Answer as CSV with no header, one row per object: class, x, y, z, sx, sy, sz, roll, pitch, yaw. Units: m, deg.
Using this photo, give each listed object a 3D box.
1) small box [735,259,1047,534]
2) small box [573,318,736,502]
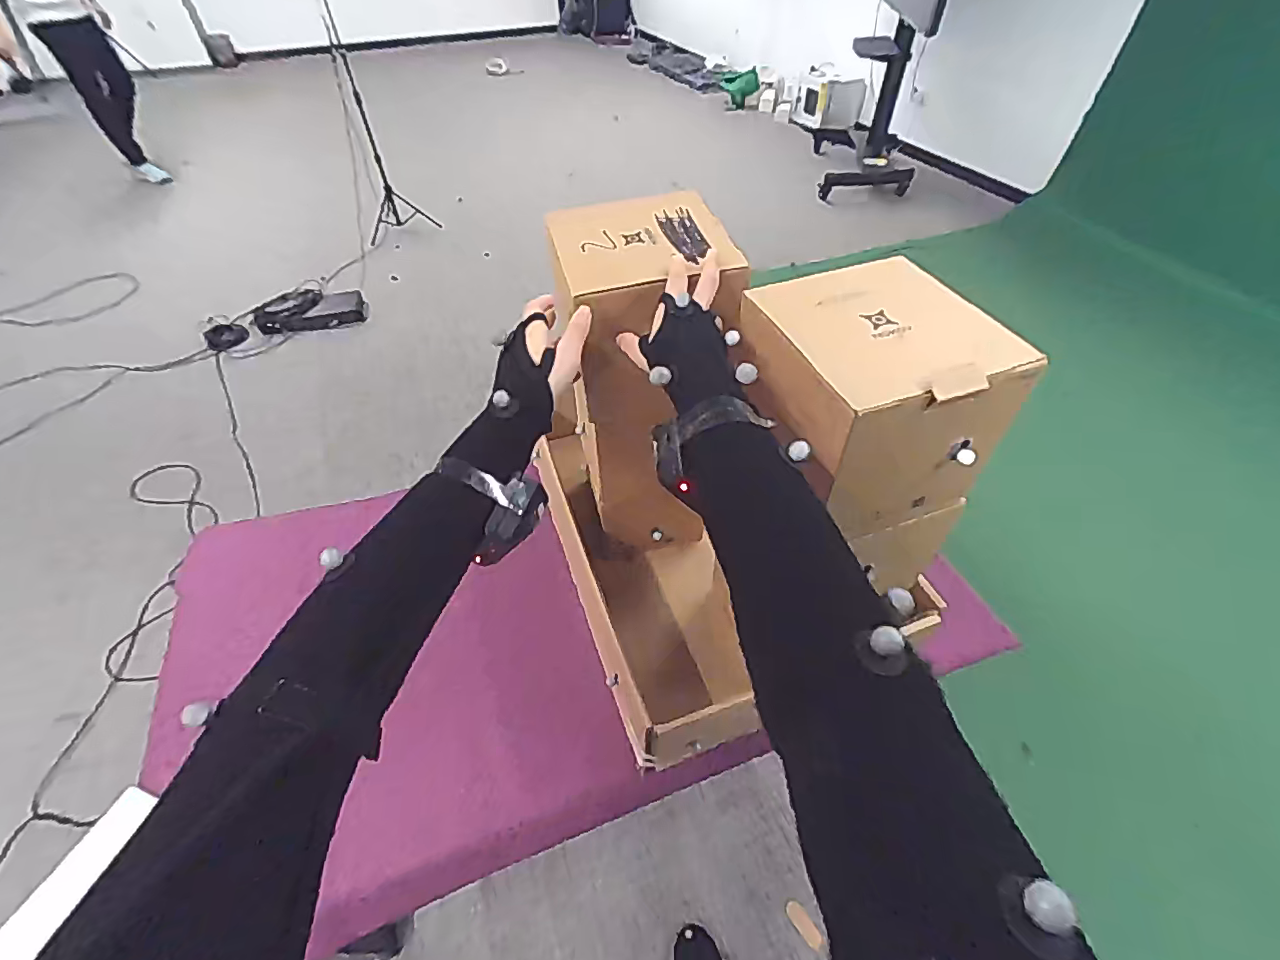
small box,0.199,-0.070,0.493,0.168,0.176,0.179,-16,49,-11
small box,0.013,-0.093,0.743,0.179,0.176,0.168,-12,52,-9
